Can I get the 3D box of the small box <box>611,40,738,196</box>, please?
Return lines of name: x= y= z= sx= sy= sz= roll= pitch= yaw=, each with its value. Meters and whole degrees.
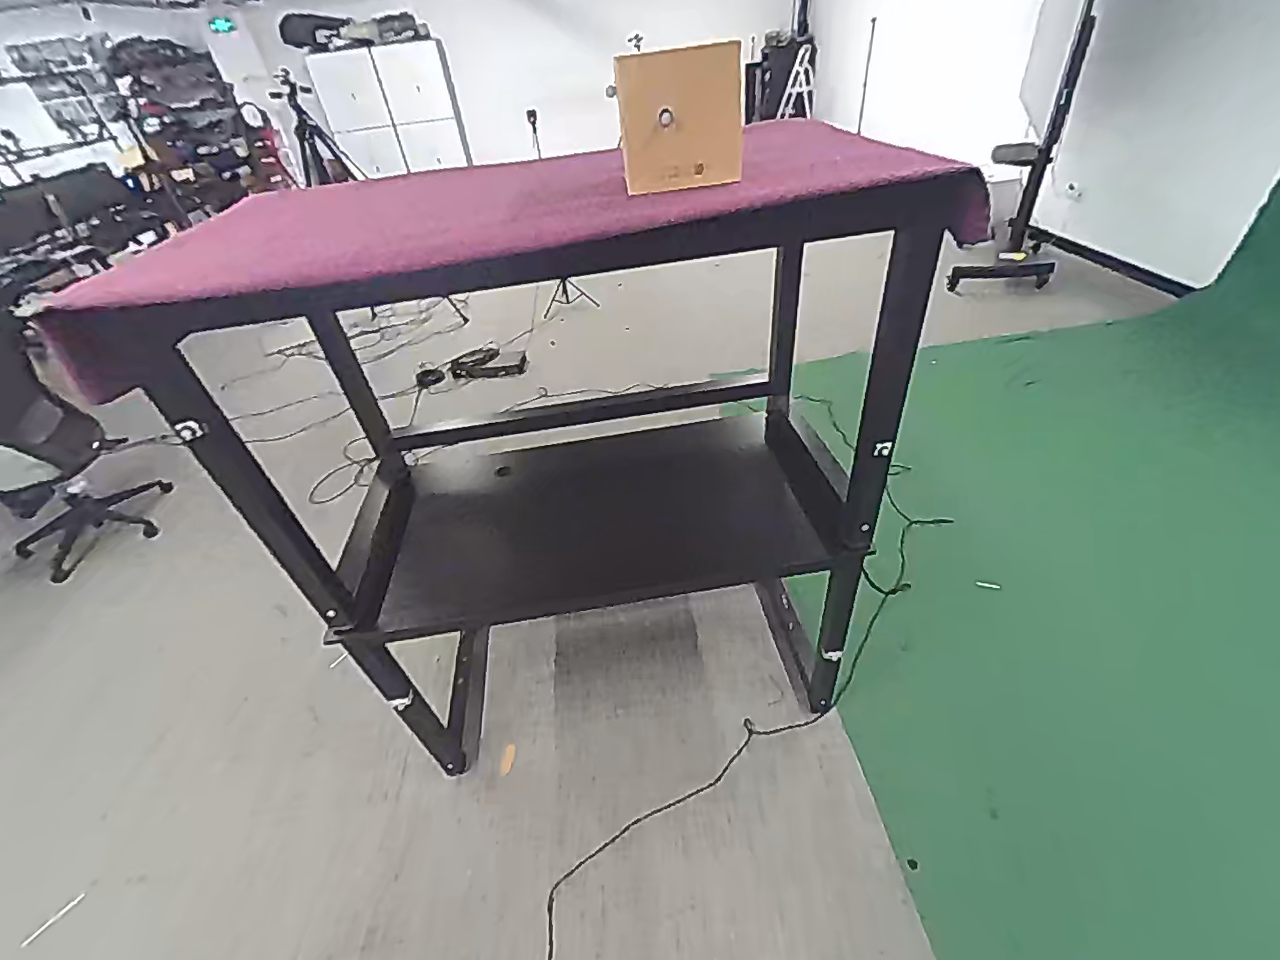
small box: x=0.050 y=-0.535 z=0.808 sx=0.168 sy=0.176 sz=0.179 roll=-7 pitch=37 yaw=1
